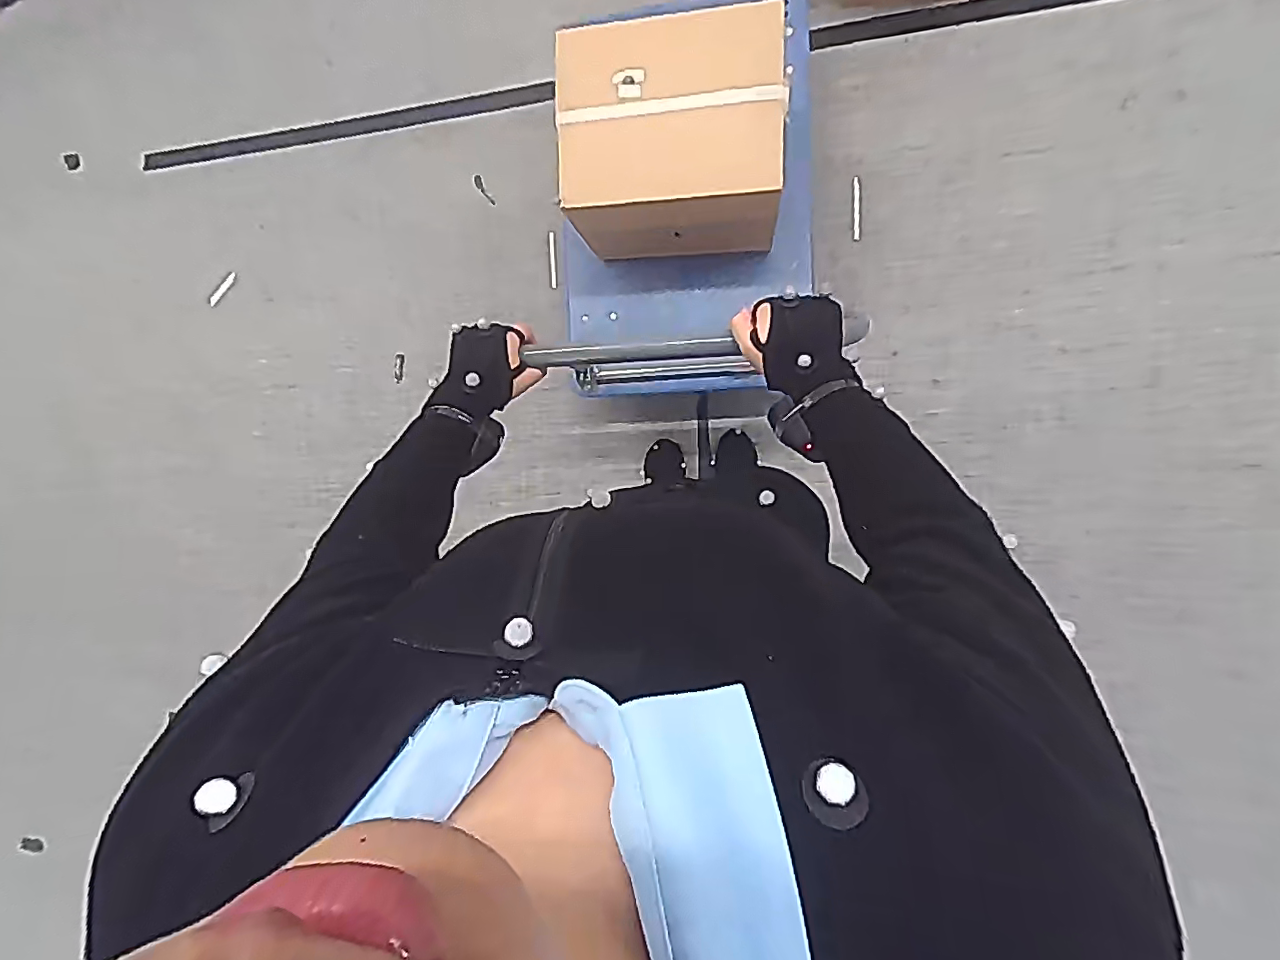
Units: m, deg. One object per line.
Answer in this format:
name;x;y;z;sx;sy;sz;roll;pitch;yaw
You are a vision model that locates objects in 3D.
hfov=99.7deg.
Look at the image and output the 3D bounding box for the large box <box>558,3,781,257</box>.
large box;0.075;-0.674;1.114;0.408;0.320;0.320;0;94;10
